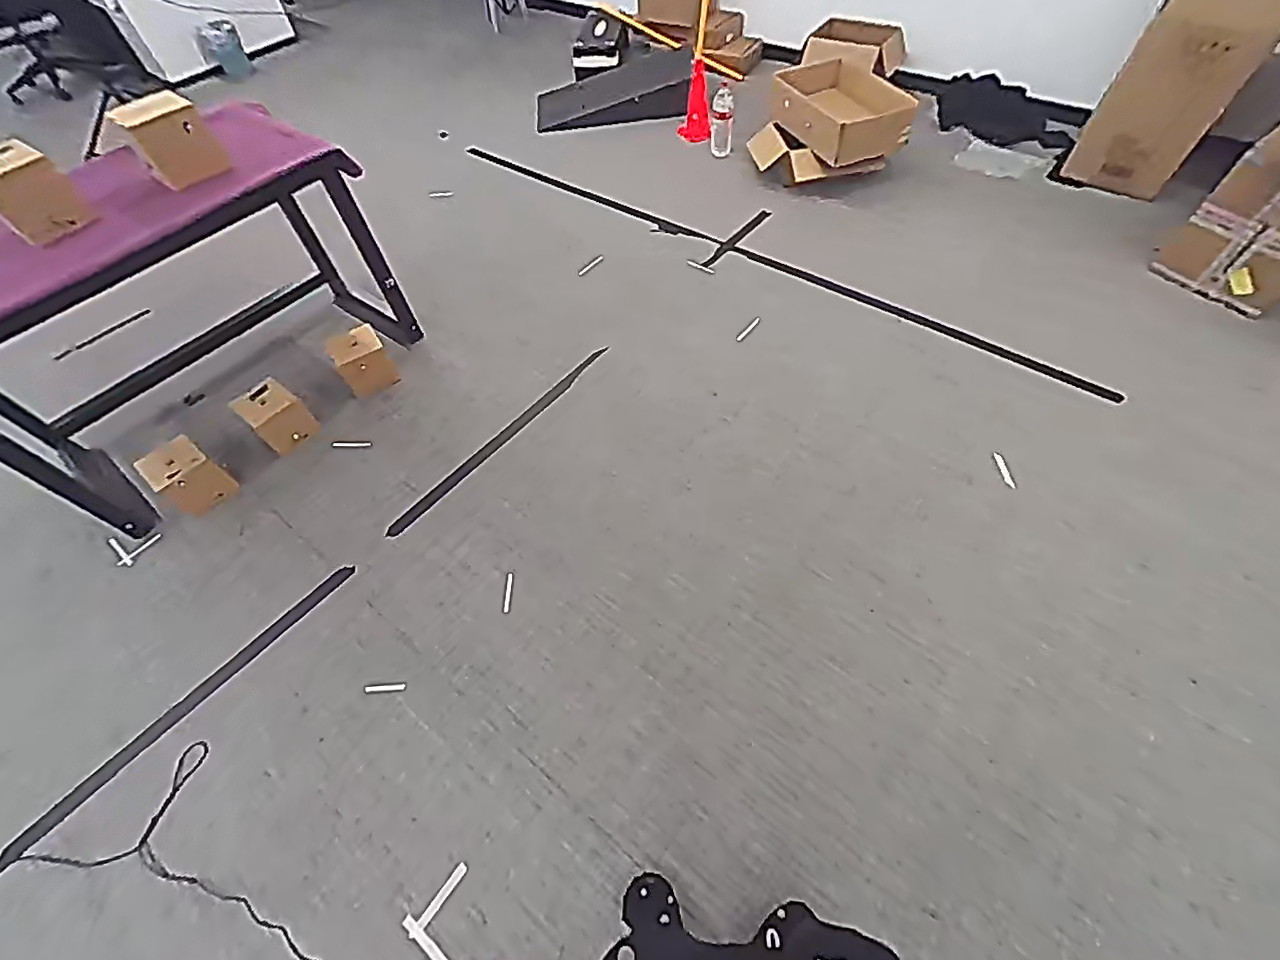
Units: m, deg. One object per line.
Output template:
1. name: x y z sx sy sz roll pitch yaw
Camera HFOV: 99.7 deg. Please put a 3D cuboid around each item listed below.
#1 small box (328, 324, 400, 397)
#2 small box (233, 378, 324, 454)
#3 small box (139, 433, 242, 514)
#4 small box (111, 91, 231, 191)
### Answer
1. small box: -1.036 -0.452 2.049 0.179 0.176 0.168 -32 60 -15
2. small box: -1.272 -0.223 1.910 0.179 0.176 0.168 32 64 22
3. small box: -1.478 -0.016 1.787 0.179 0.176 0.168 33 64 24
4. small box: -1.306 -0.952 1.523 0.168 0.176 0.179 34 65 25
